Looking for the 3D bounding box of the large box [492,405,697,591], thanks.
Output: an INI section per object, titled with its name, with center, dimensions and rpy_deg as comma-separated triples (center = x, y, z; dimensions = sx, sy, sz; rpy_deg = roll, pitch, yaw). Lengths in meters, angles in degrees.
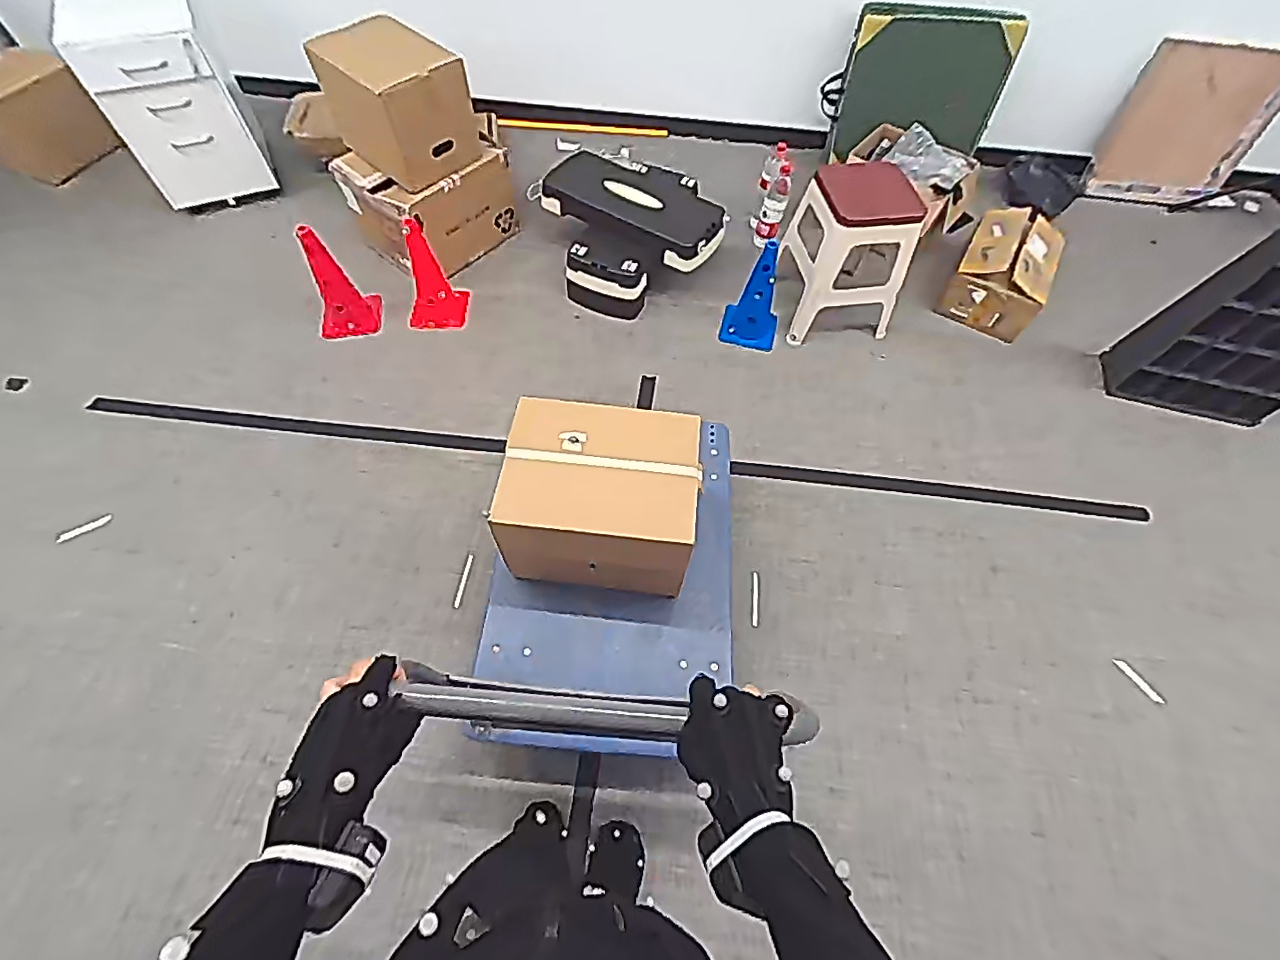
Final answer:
[large box]
center = -0.085, 0.053, 1.262
dimensions = 0.408, 0.320, 0.320
rpy_deg = 6, 59, 2
